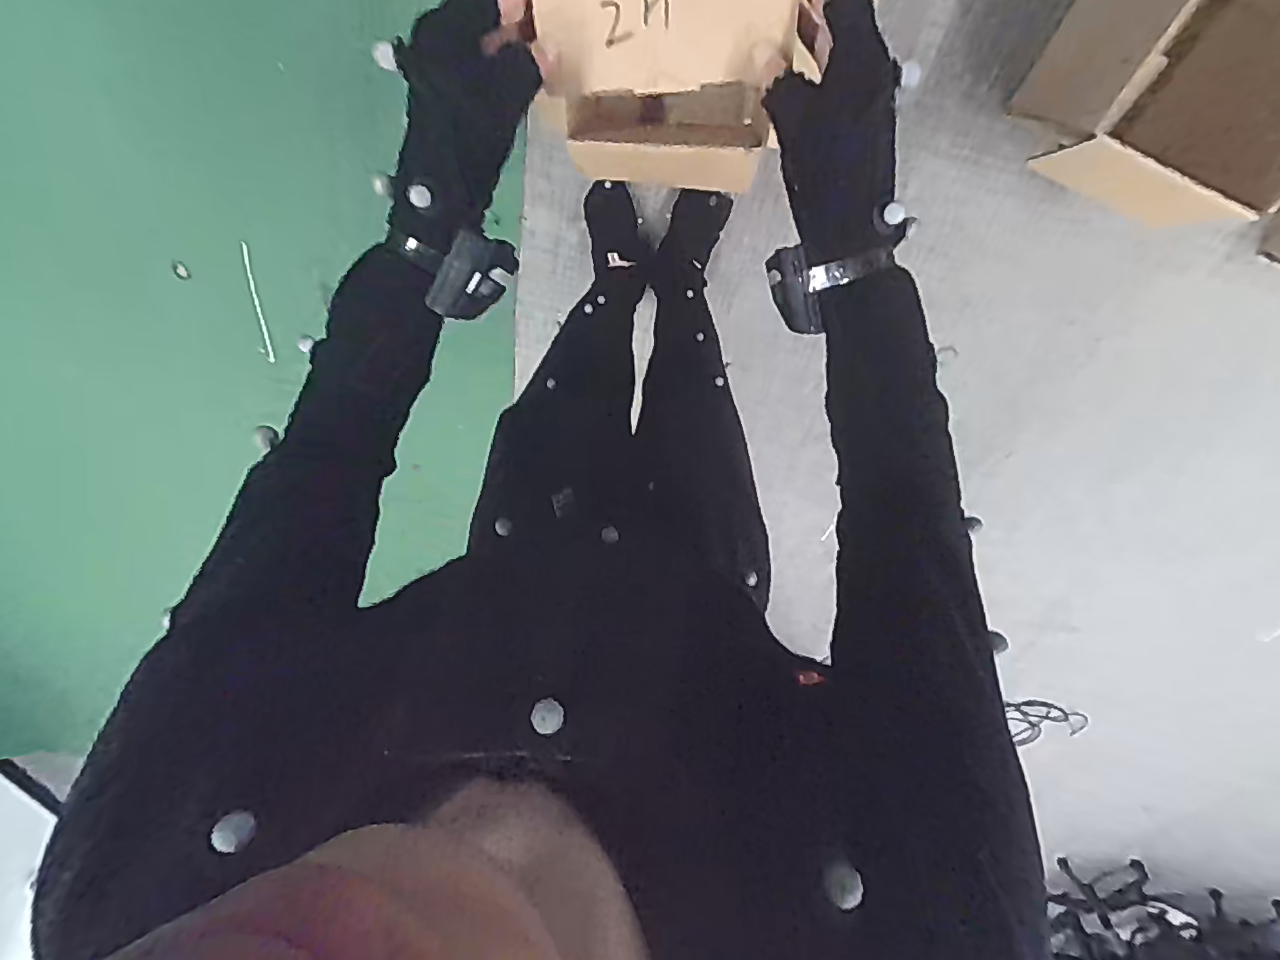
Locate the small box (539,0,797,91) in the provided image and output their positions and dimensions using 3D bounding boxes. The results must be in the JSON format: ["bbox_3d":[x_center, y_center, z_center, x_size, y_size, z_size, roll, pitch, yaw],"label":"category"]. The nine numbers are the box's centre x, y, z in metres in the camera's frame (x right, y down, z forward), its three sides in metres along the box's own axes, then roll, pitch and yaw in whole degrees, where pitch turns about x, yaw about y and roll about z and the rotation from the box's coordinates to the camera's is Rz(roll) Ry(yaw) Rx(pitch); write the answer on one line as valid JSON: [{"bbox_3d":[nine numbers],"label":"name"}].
[{"bbox_3d":[0.020,-0.386,0.377,0.168,0.176,0.179,0,129,5],"label":"small box"}]
